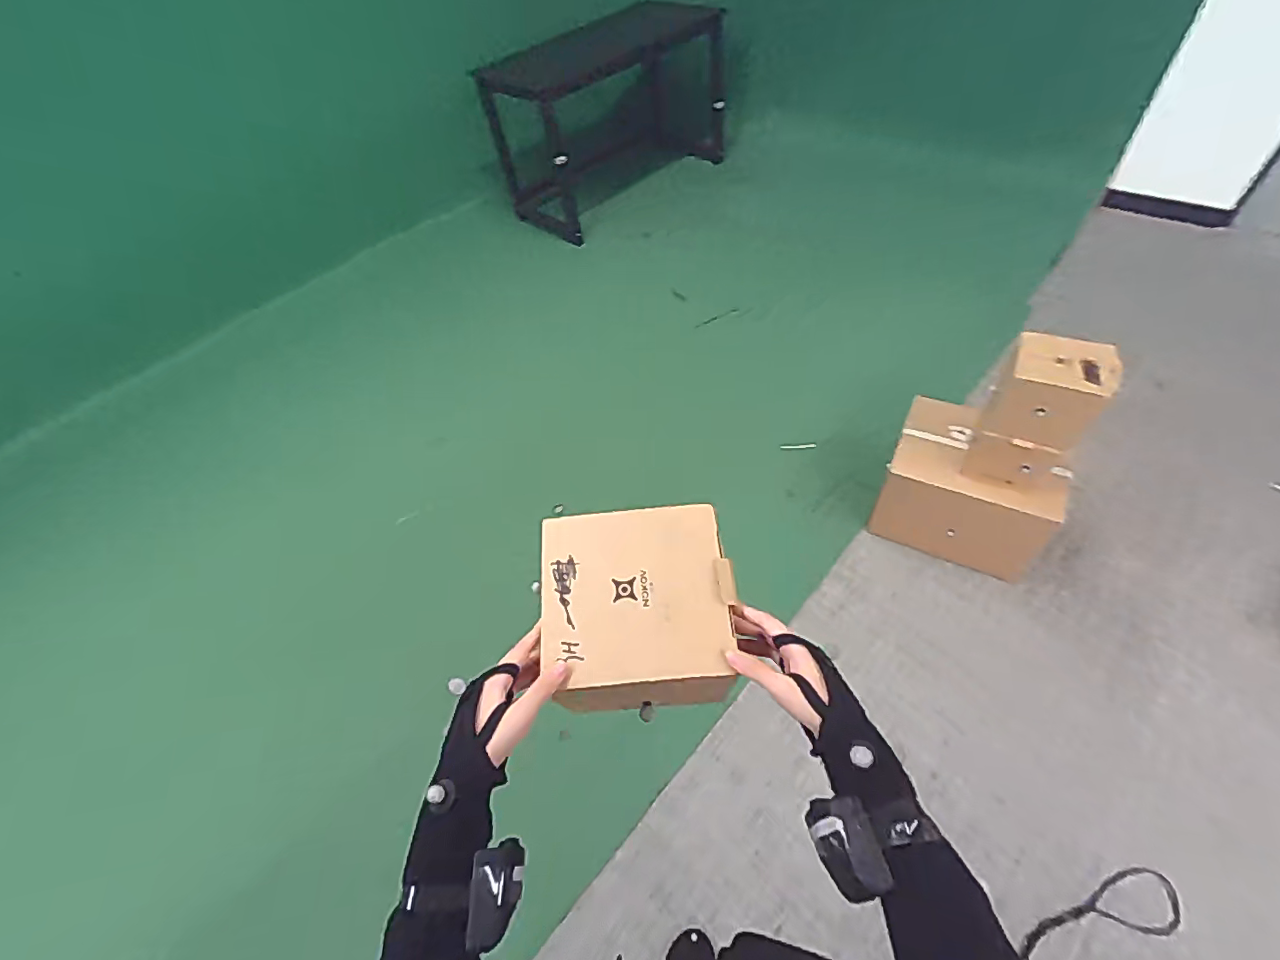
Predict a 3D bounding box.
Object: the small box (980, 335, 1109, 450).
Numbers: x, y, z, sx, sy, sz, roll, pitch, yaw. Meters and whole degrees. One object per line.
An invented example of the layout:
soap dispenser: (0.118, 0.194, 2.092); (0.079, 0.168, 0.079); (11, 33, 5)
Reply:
small box: (0.896, -0.191, 1.206); (0.179, 0.176, 0.168); (19, 57, 22)

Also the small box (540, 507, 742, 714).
small box: (-0.001, 0.143, 0.569); (0.179, 0.176, 0.168); (-4, 58, 0)

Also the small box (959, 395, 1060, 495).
small box: (0.912, -0.090, 1.334); (0.168, 0.176, 0.179); (20, 58, 23)

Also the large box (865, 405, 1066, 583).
large box: (0.913, 0.038, 1.547); (0.408, 0.320, 0.320); (19, 56, 24)
